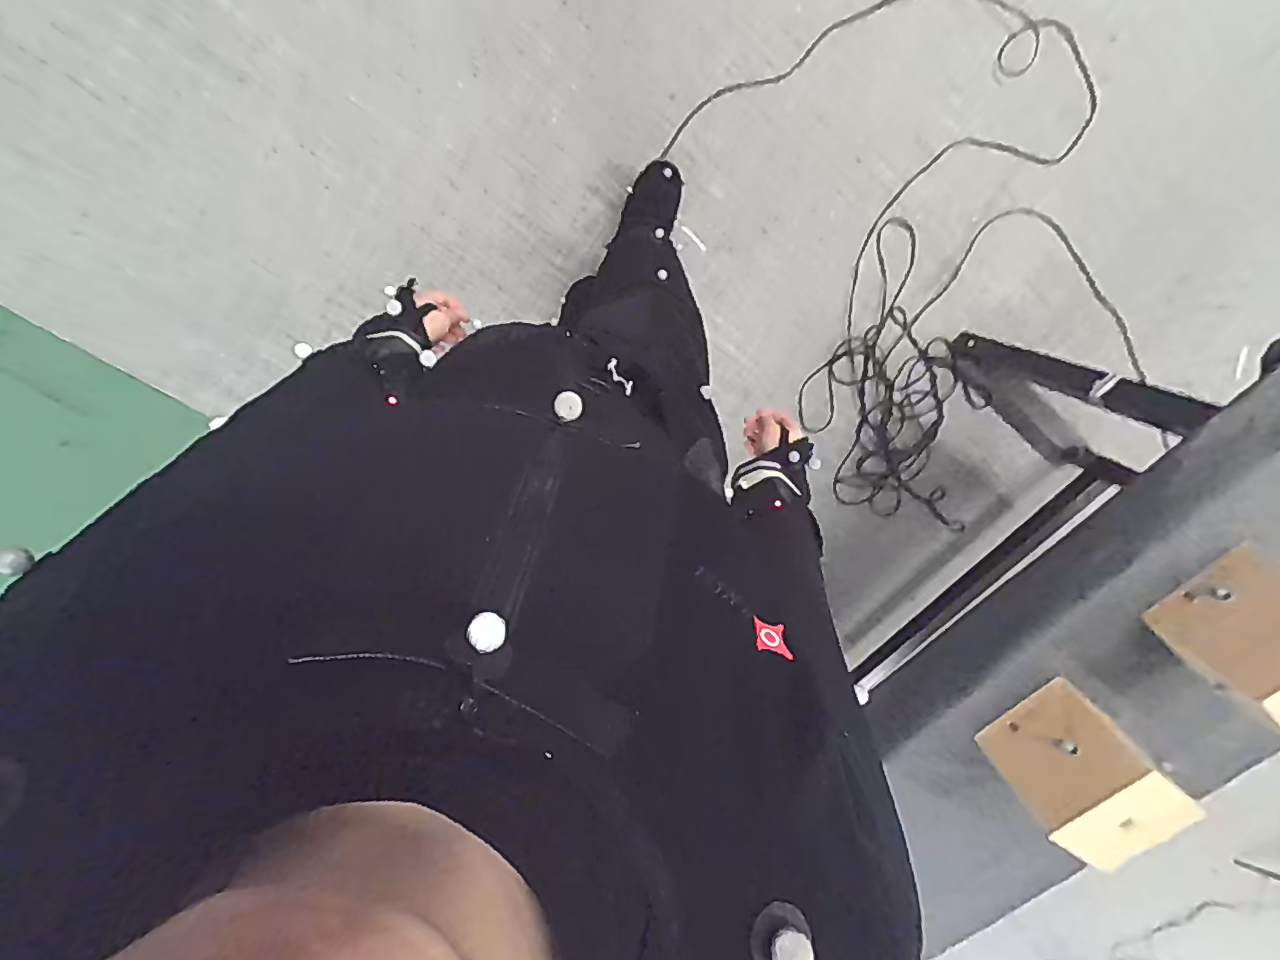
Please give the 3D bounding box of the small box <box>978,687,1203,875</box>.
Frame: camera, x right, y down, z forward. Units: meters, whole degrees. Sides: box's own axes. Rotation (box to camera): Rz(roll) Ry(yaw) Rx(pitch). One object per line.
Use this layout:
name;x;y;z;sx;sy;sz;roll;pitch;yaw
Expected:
small box;0.669;0.449;0.825;0.179;0.176;0.168;35;108;-21
